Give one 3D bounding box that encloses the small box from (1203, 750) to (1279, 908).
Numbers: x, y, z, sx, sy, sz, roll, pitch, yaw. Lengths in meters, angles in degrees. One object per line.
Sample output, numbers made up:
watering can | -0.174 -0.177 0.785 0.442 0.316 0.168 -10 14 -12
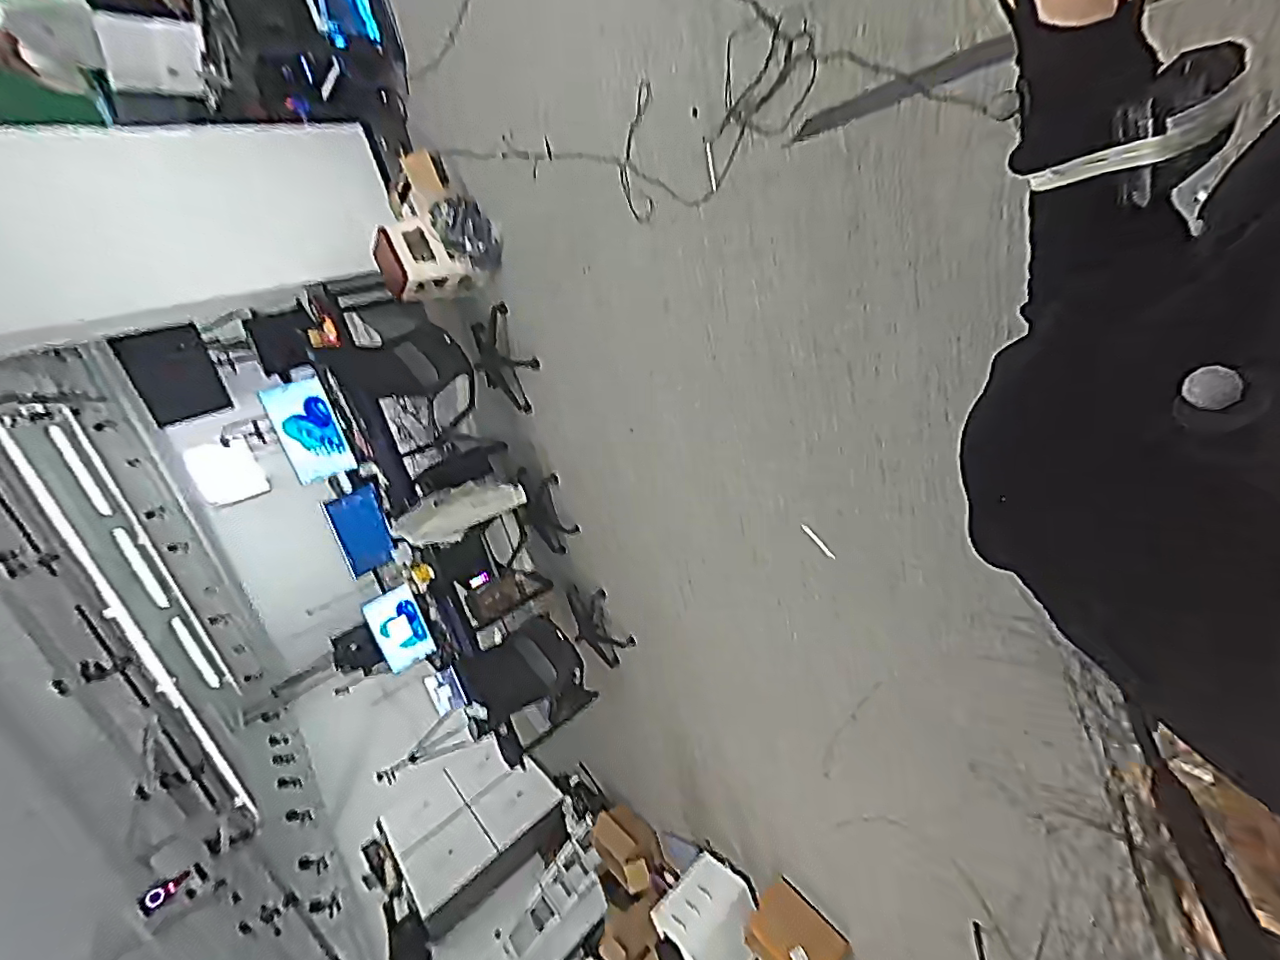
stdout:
small box | 1.128 0.622 0.953 0.168 0.176 0.179 7 119 52
